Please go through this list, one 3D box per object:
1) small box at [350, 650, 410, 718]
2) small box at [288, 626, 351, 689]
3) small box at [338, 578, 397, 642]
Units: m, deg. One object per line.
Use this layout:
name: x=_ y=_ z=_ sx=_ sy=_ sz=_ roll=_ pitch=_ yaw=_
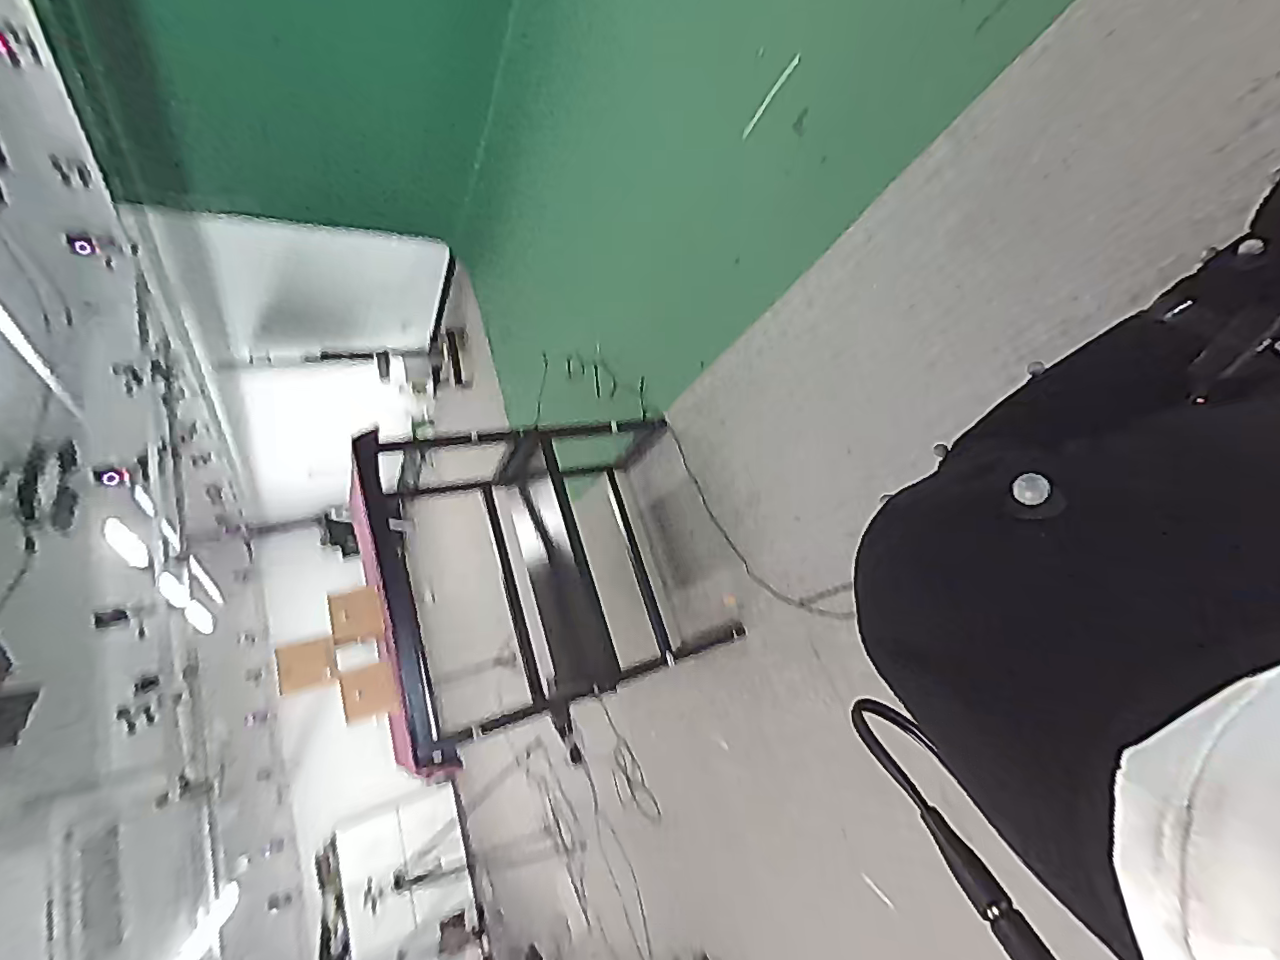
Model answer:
small box: x=-0.922 y=0.723 z=1.916 sx=0.168 sy=0.176 sz=0.179 roll=-45 pitch=60 yaw=52
small box: x=-1.107 y=0.615 z=1.876 sx=0.179 sy=0.176 sz=0.168 roll=-40 pitch=62 yaw=55
small box: x=-1.000 y=0.476 z=1.985 sx=0.168 sy=0.176 sz=0.179 roll=-42 pitch=62 yaw=54
